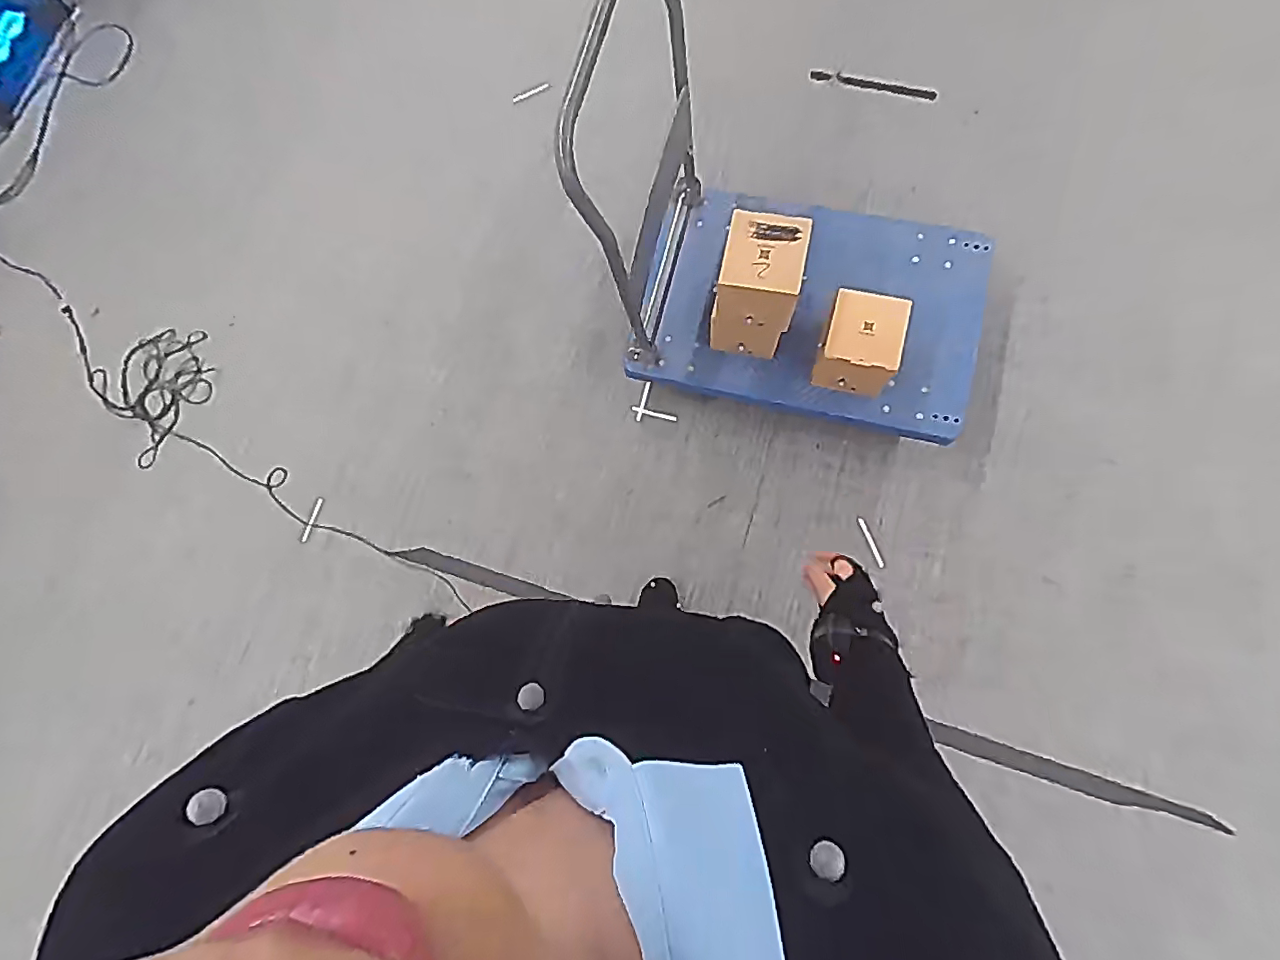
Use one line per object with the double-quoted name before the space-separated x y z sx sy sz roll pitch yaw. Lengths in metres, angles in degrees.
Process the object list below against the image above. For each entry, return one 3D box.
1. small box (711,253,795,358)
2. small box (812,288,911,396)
"small box" 0.273 -0.428 1.343 0.168 0.176 0.179 13 80 9
"small box" 0.522 -0.325 1.296 0.168 0.176 0.179 14 80 9
